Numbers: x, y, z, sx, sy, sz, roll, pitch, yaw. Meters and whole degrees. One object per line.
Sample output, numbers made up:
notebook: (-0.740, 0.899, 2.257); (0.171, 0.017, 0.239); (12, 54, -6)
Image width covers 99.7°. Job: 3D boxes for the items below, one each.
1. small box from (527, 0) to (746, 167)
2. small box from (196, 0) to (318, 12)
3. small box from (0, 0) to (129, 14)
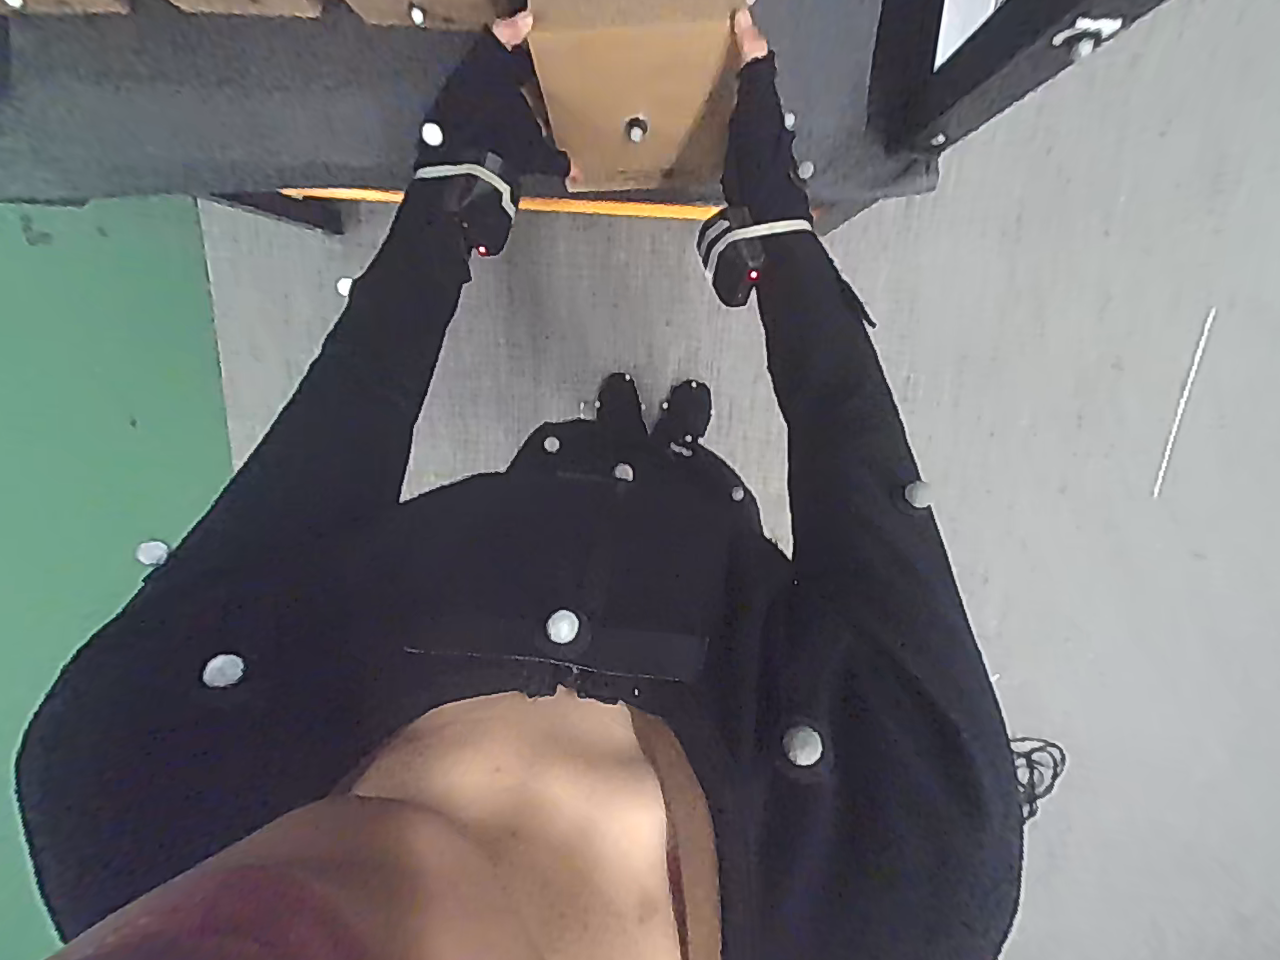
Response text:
small box: (0.003, -0.410, 0.486); (0.168, 0.176, 0.179); (-1, 80, 3)
small box: (-0.438, -0.596, 0.518); (0.168, 0.176, 0.179); (4, 104, 2)
small box: (-0.665, -0.605, 0.526); (0.168, 0.176, 0.179); (2, 105, 3)
